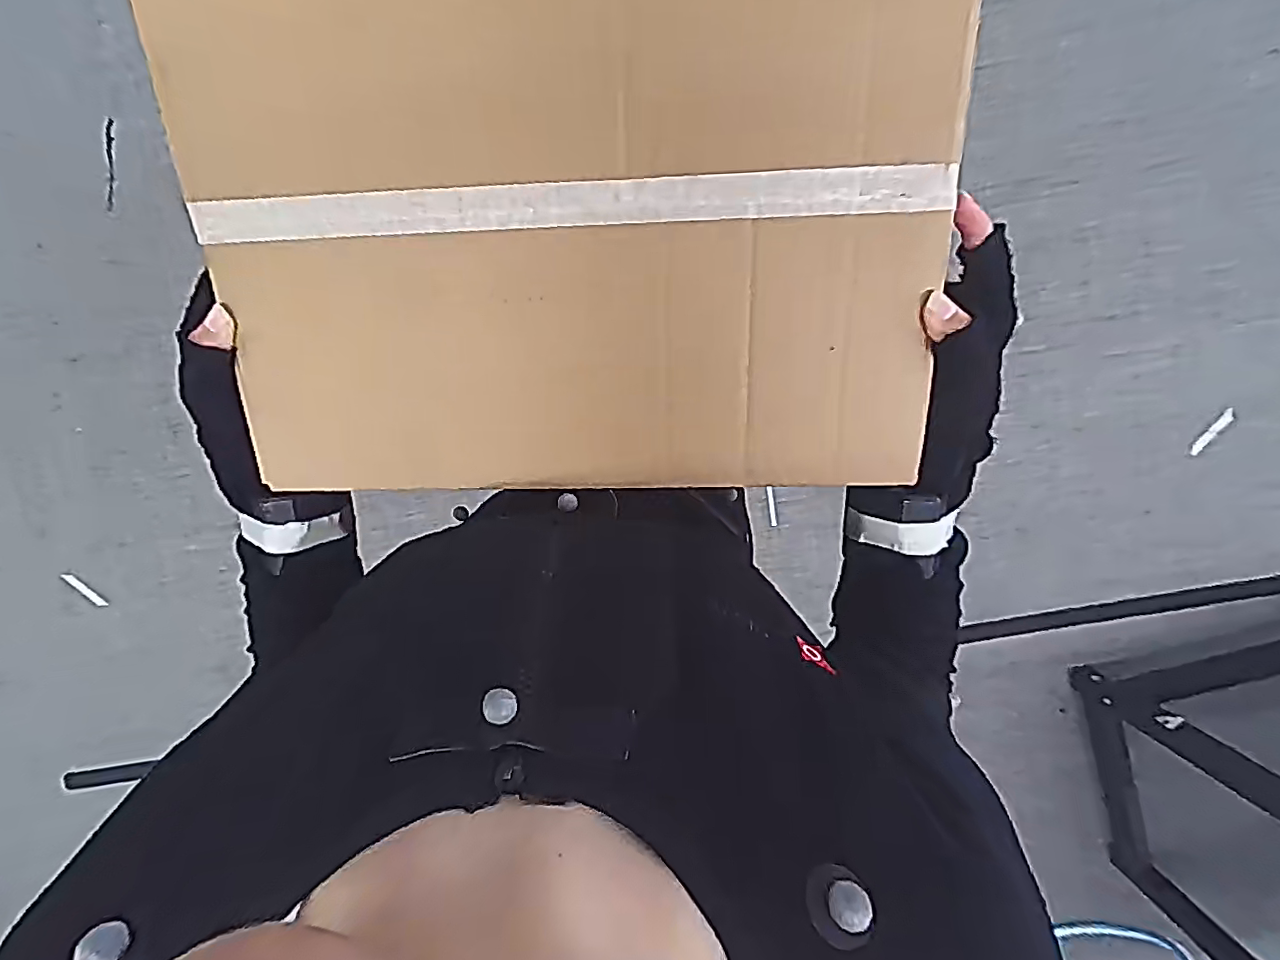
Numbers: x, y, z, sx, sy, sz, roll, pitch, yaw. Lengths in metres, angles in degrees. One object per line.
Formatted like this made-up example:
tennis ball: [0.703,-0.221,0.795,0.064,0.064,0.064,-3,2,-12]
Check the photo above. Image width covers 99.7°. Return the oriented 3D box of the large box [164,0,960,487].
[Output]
large box: [-0.035,-0.192,0.437,0.408,0.320,0.320,-1,109,3]
